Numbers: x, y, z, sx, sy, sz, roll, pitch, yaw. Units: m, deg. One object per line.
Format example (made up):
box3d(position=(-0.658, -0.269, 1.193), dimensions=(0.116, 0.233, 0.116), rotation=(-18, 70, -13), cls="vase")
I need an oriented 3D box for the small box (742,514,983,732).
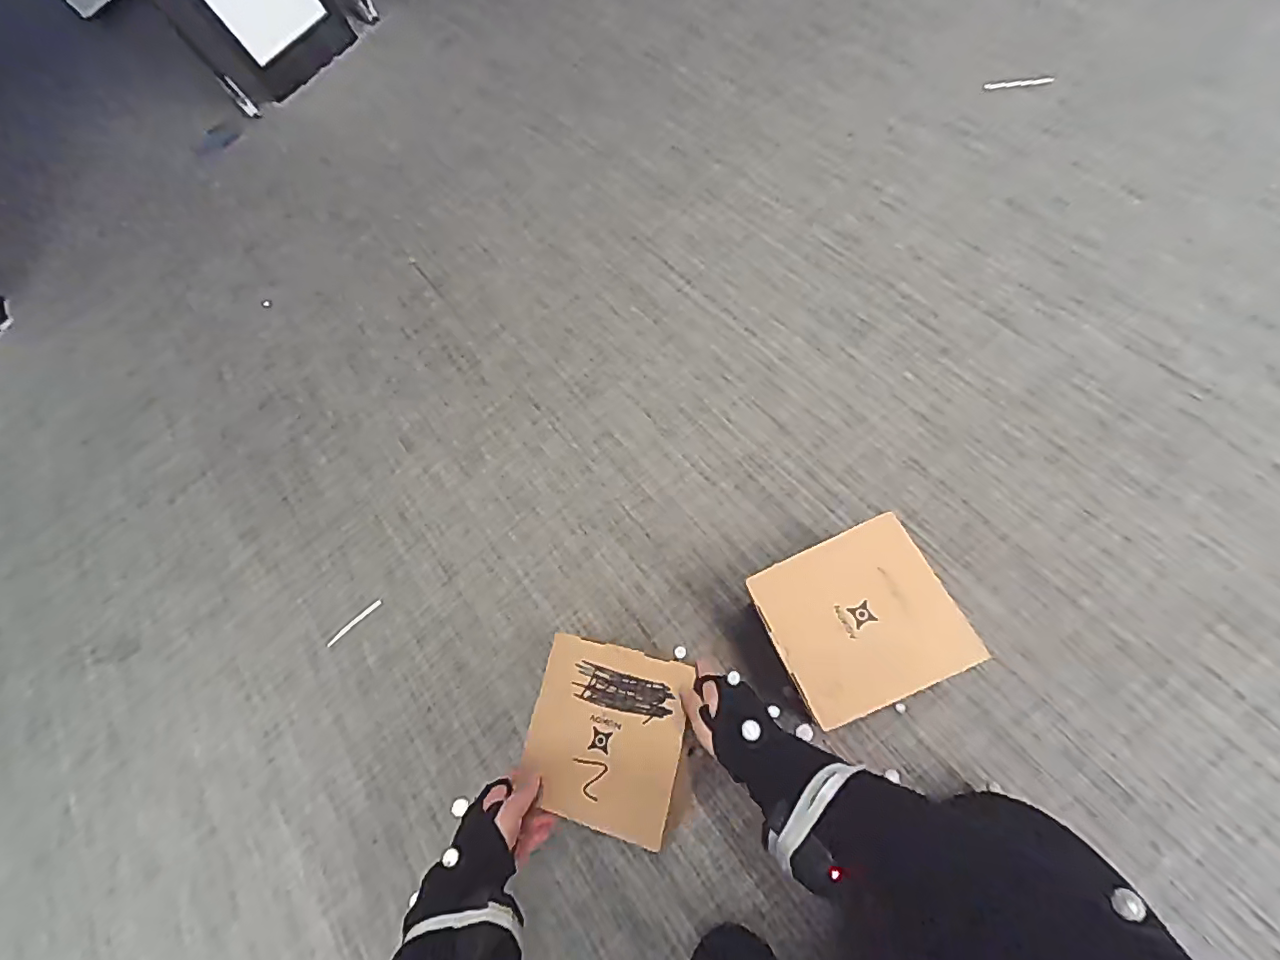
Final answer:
box3d(position=(0.235, 0.168, 0.614), dimensions=(0.179, 0.176, 0.168), rotation=(-26, 65, 3), cls="small box")
